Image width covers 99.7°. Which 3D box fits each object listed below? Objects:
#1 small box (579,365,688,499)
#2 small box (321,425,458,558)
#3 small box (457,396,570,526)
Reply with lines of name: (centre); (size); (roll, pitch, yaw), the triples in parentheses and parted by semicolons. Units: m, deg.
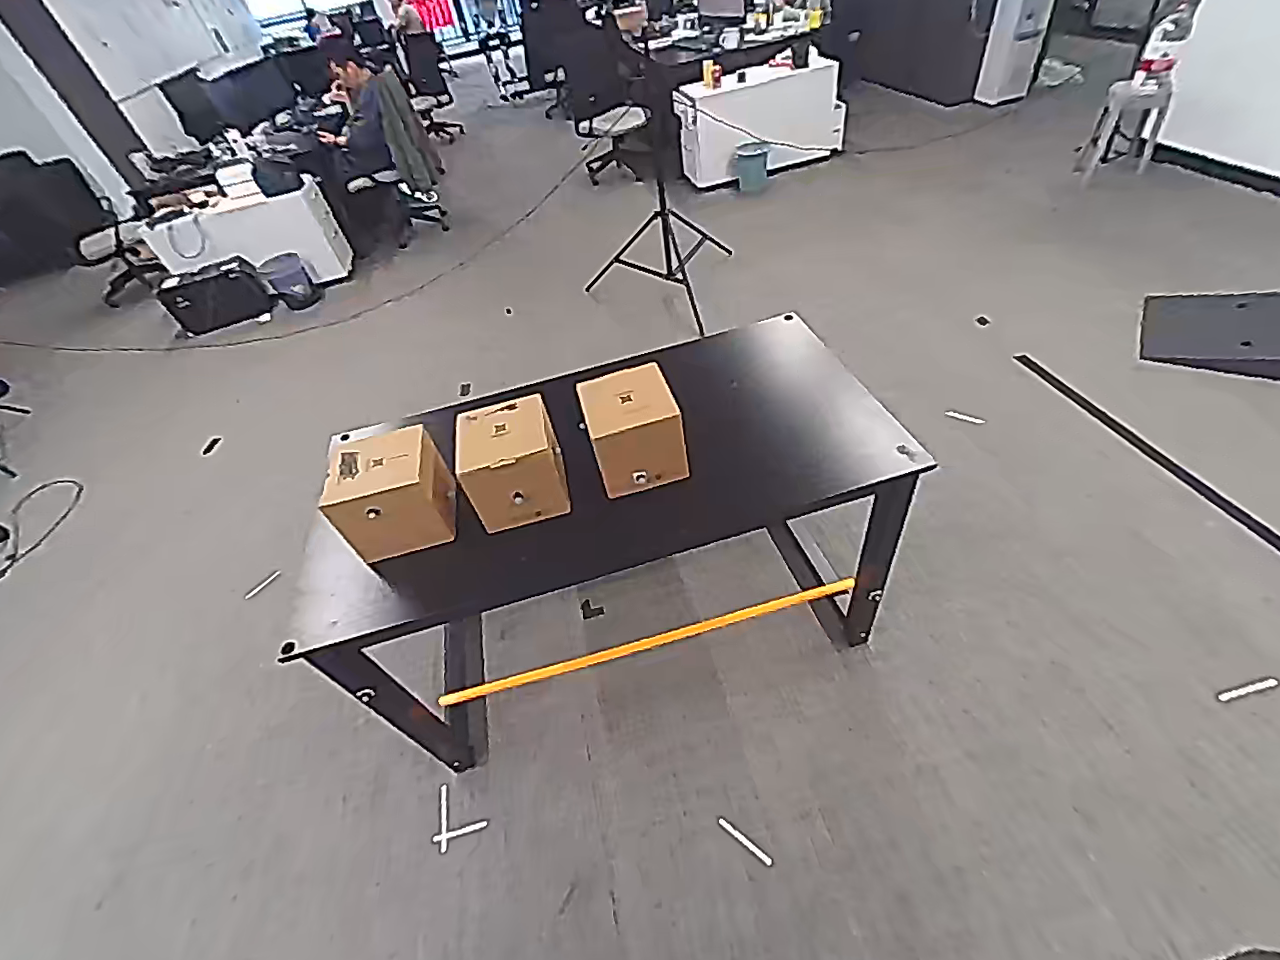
small box: (-0.012, -0.093, 1.063); (0.168, 0.176, 0.179); (-17, 47, -3)
small box: (-0.467, 0.026, 1.037); (0.179, 0.176, 0.168); (-15, 46, -4)
small box: (-0.241, -0.030, 1.047); (0.168, 0.176, 0.179); (-15, 46, -2)
